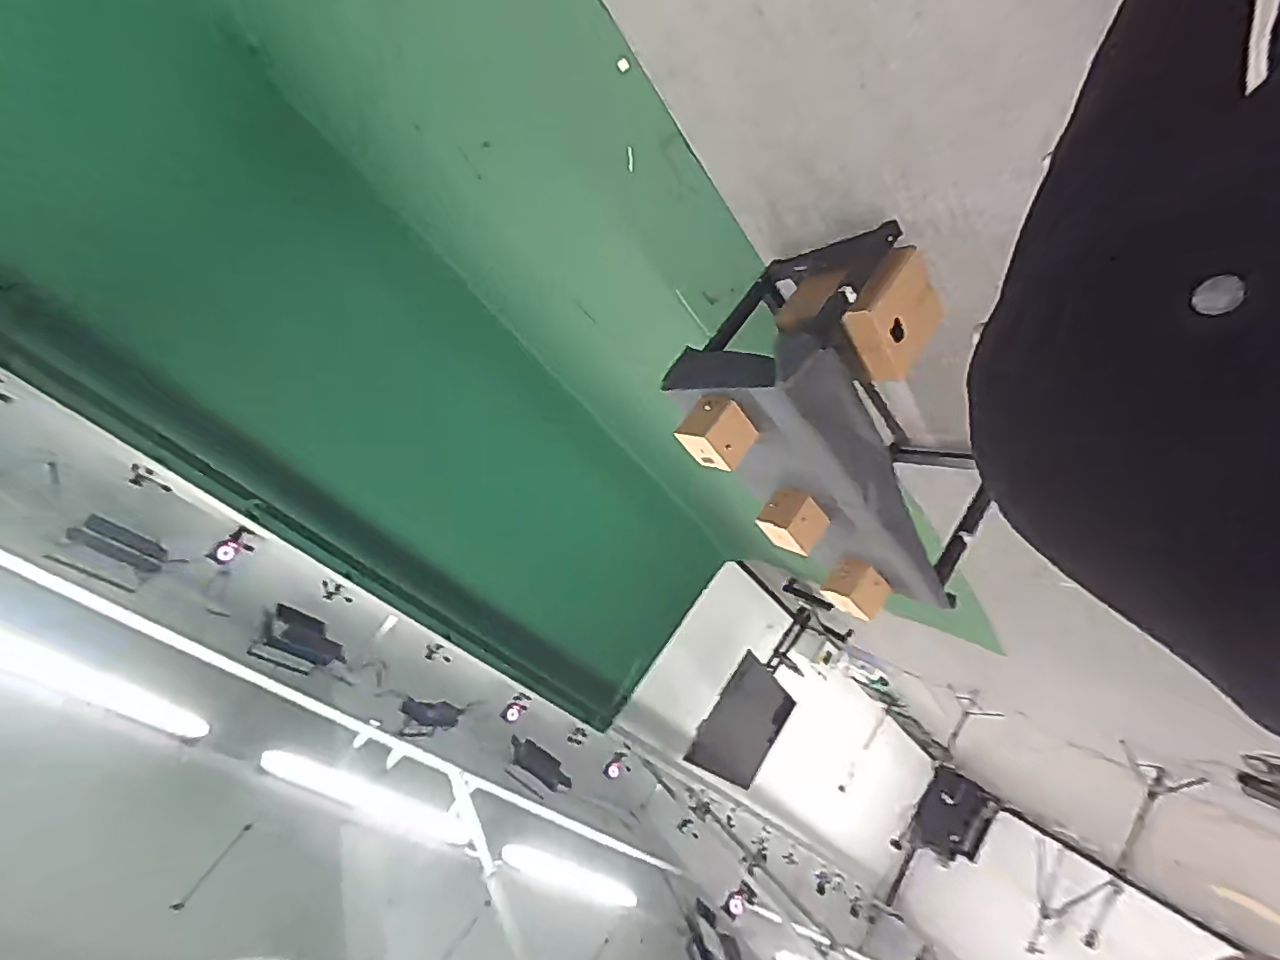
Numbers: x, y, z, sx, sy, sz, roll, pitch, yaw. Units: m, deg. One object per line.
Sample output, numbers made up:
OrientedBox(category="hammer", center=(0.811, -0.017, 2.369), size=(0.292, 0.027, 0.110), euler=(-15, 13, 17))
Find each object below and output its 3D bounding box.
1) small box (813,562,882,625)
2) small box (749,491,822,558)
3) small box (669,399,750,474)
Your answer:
OrientedBox(category="small box", center=(0.859, 0.461, 2.232), size=(0.179, 0.176, 0.168), euler=(45, 165, -22))
OrientedBox(category="small box", center=(0.554, 0.164, 2.052), size=(0.179, 0.176, 0.168), euler=(45, 166, -31))
OrientedBox(category="small box", center=(0.237, -0.149, 1.821), size=(0.179, 0.176, 0.168), euler=(47, 163, -31))
